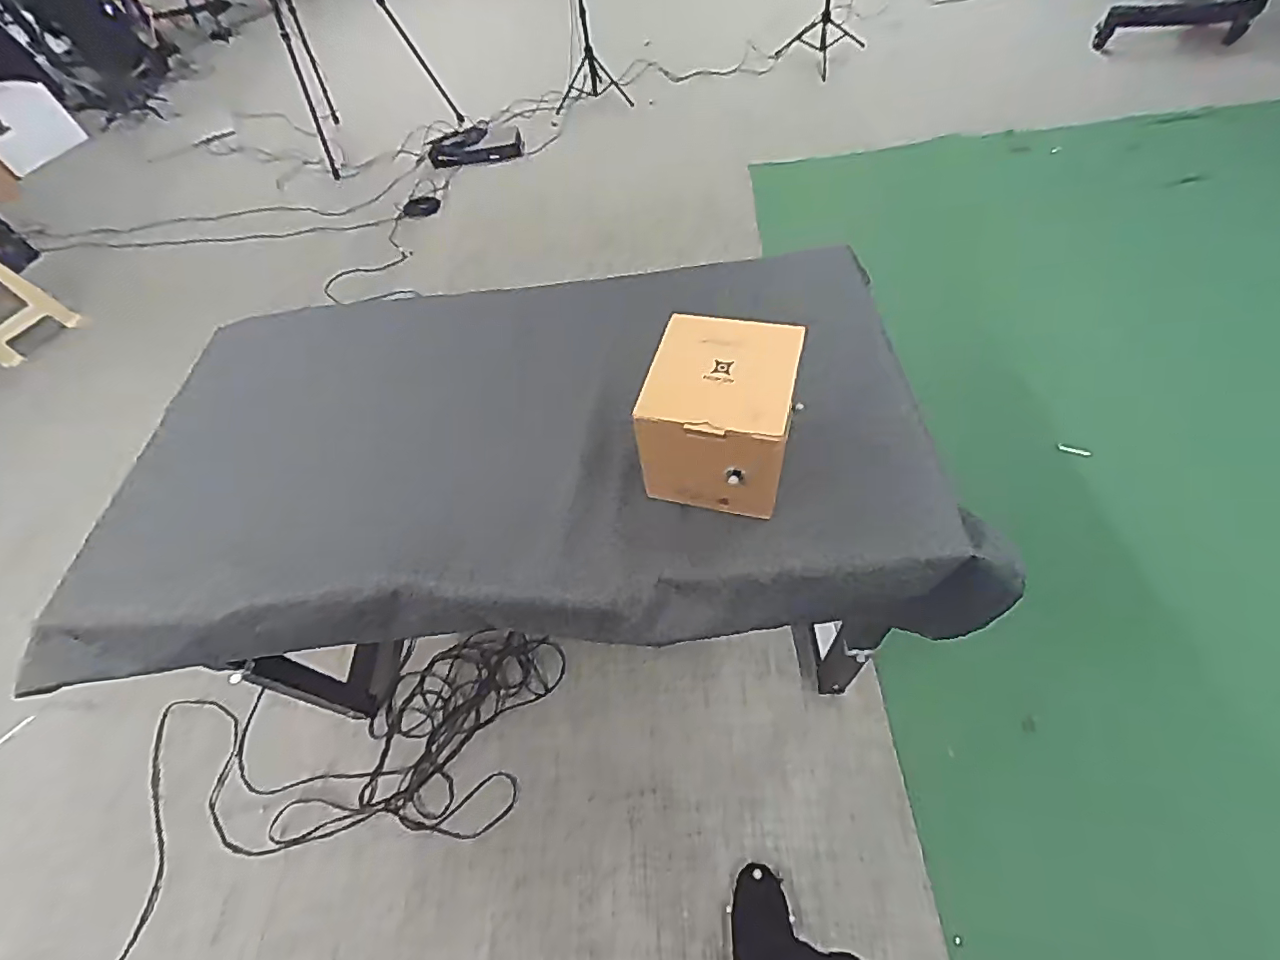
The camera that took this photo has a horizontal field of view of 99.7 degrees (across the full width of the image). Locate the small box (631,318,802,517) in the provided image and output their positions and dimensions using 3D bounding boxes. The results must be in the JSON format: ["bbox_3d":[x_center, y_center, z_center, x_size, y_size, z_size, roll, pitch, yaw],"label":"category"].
[{"bbox_3d":[0.100,-0.076,0.681,0.168,0.176,0.179,11,56,15],"label":"small box"}]
